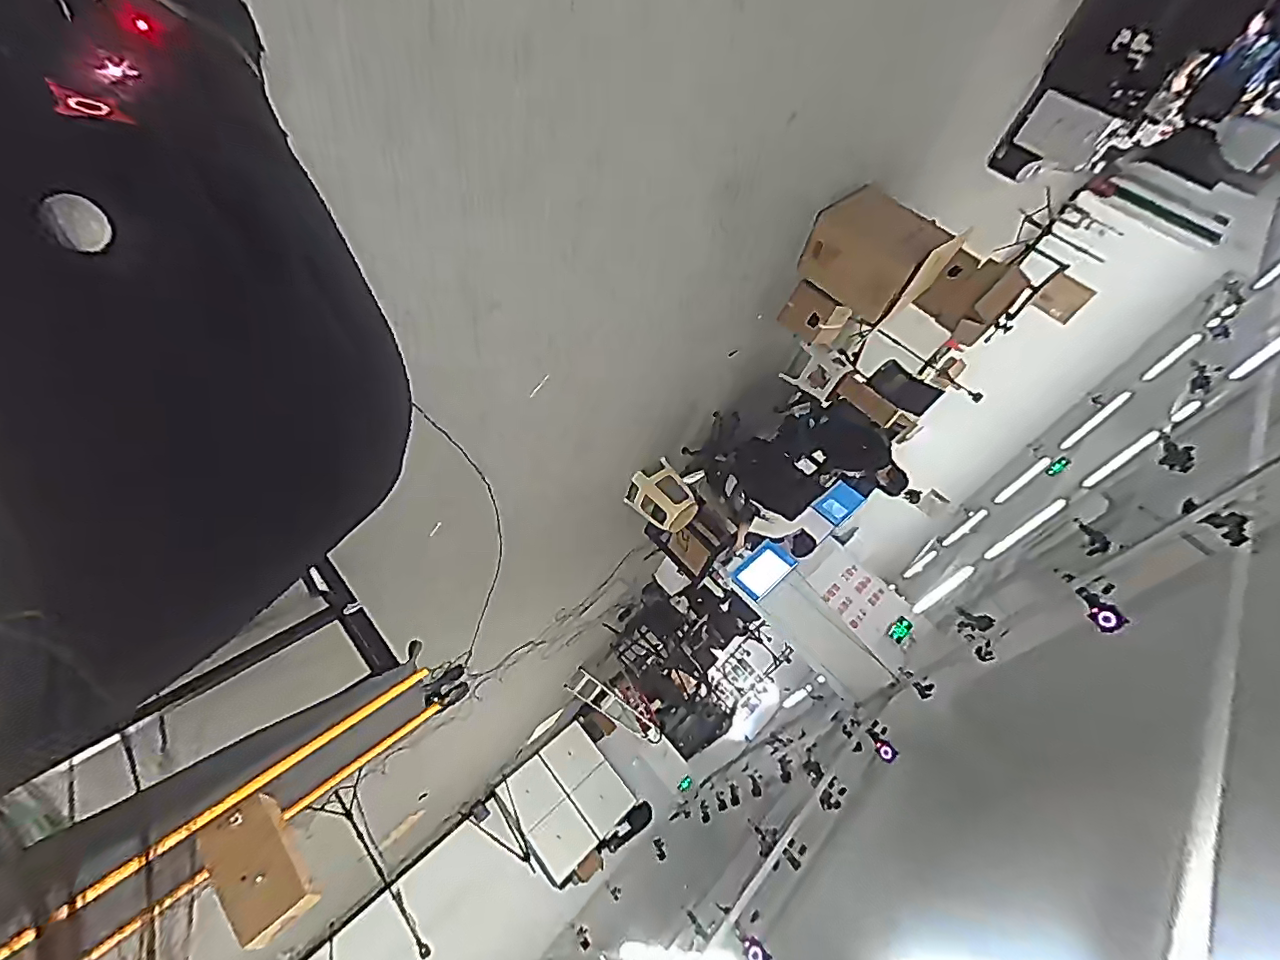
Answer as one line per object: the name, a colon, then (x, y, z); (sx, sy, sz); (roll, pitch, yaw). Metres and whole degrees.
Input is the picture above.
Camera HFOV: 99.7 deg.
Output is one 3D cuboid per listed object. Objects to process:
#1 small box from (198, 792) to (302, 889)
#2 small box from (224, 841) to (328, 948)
small box: (-1.113, 1.032, 1.550); (0.168, 0.176, 0.179); (-34, 156, -33)
small box: (-1.002, 1.141, 1.497); (0.168, 0.176, 0.179); (-33, 156, -34)
